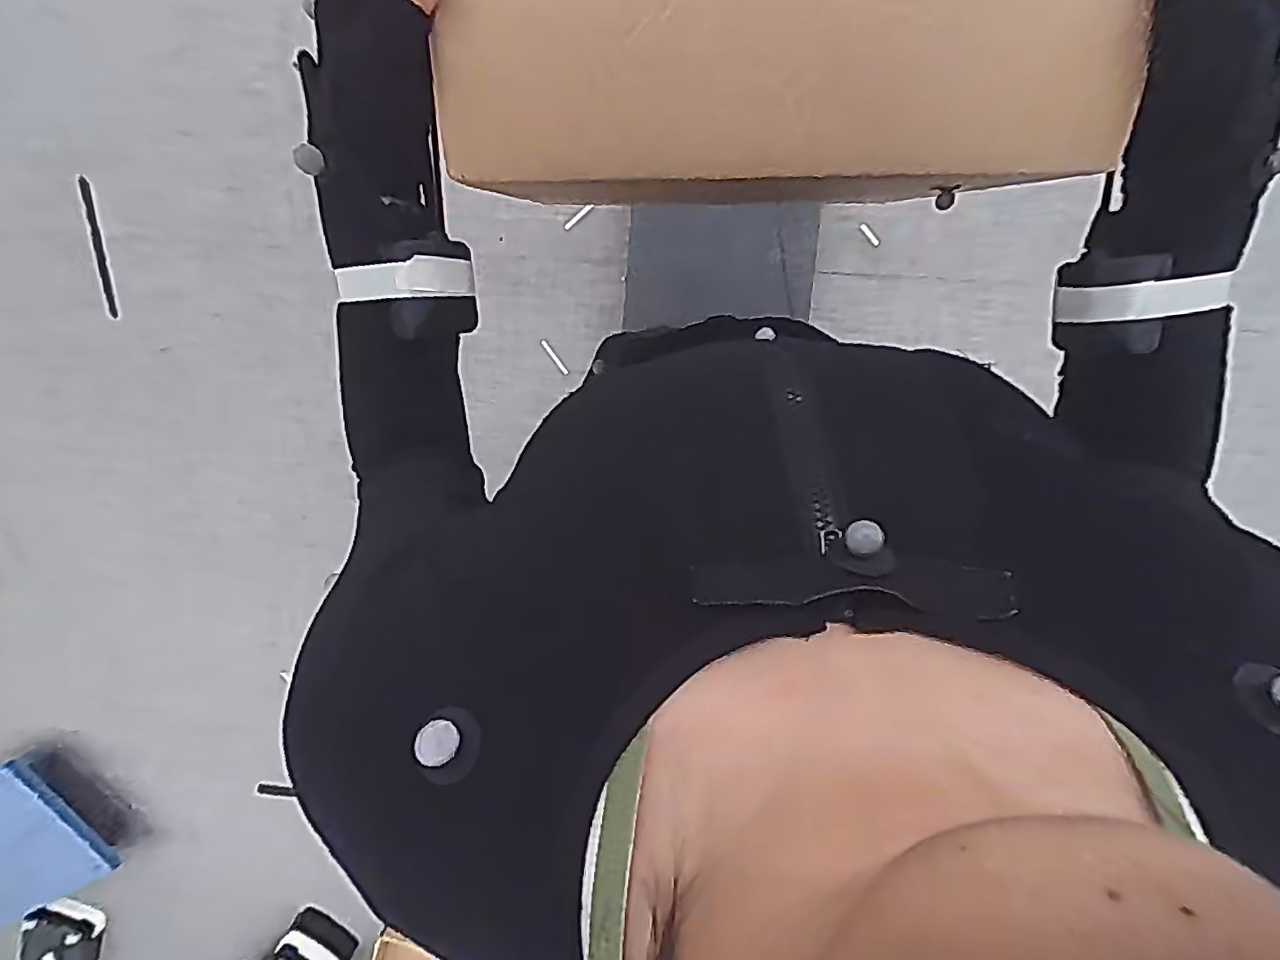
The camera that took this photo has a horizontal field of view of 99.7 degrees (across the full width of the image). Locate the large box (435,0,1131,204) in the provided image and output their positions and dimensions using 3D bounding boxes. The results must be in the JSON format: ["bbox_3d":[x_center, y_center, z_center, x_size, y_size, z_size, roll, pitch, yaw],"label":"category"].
[{"bbox_3d":[0.083,-0.393,0.415,0.408,0.320,0.320,0,114,1],"label":"large box"}]
